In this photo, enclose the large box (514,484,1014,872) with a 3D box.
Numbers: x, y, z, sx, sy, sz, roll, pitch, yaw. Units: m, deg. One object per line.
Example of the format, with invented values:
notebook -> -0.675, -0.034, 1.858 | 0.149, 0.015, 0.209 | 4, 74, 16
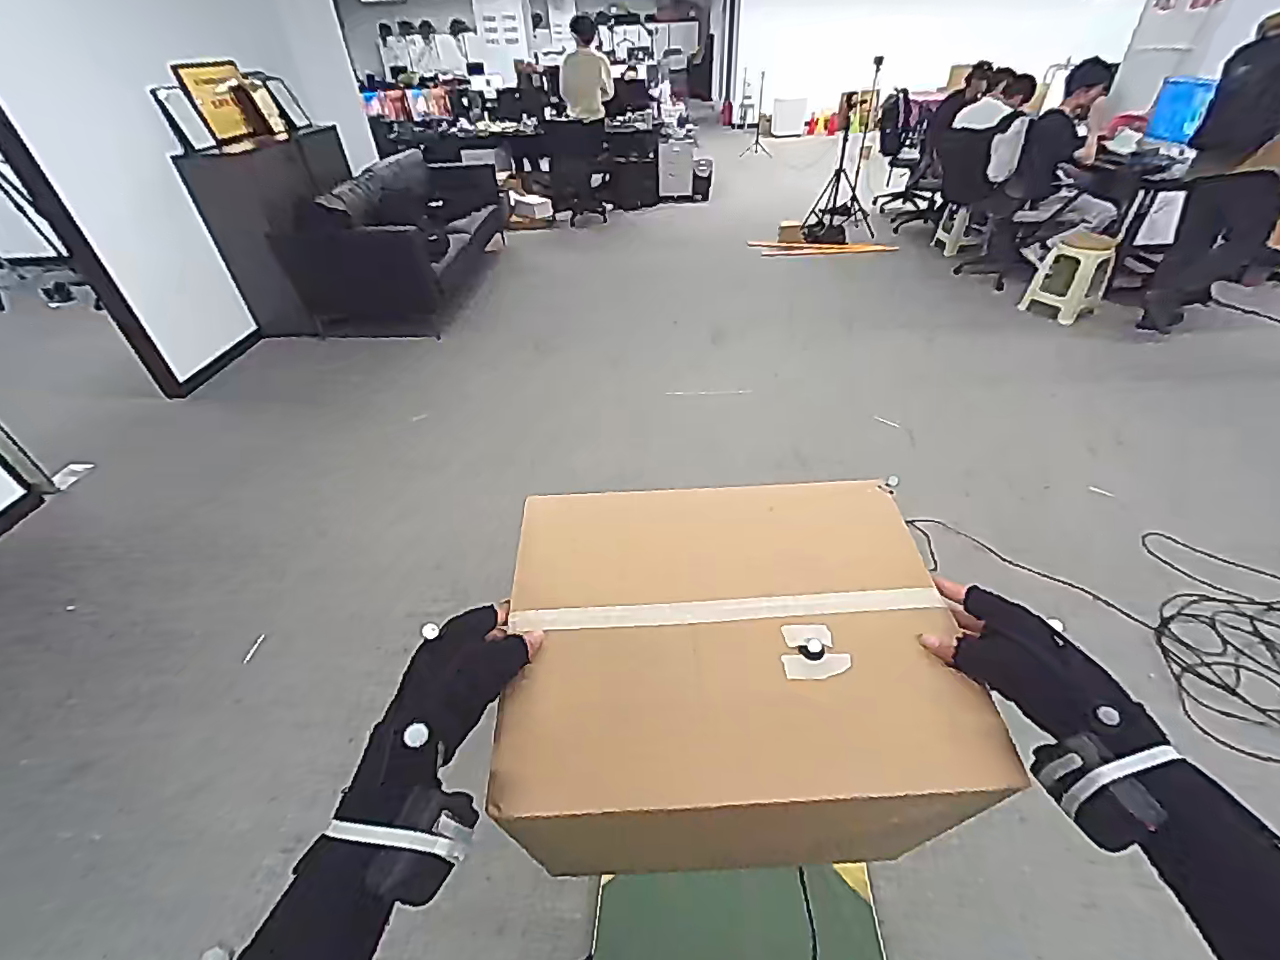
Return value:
large box -> 0.090, 0.228, 0.625 | 0.408, 0.320, 0.320 | -3, 47, -2
